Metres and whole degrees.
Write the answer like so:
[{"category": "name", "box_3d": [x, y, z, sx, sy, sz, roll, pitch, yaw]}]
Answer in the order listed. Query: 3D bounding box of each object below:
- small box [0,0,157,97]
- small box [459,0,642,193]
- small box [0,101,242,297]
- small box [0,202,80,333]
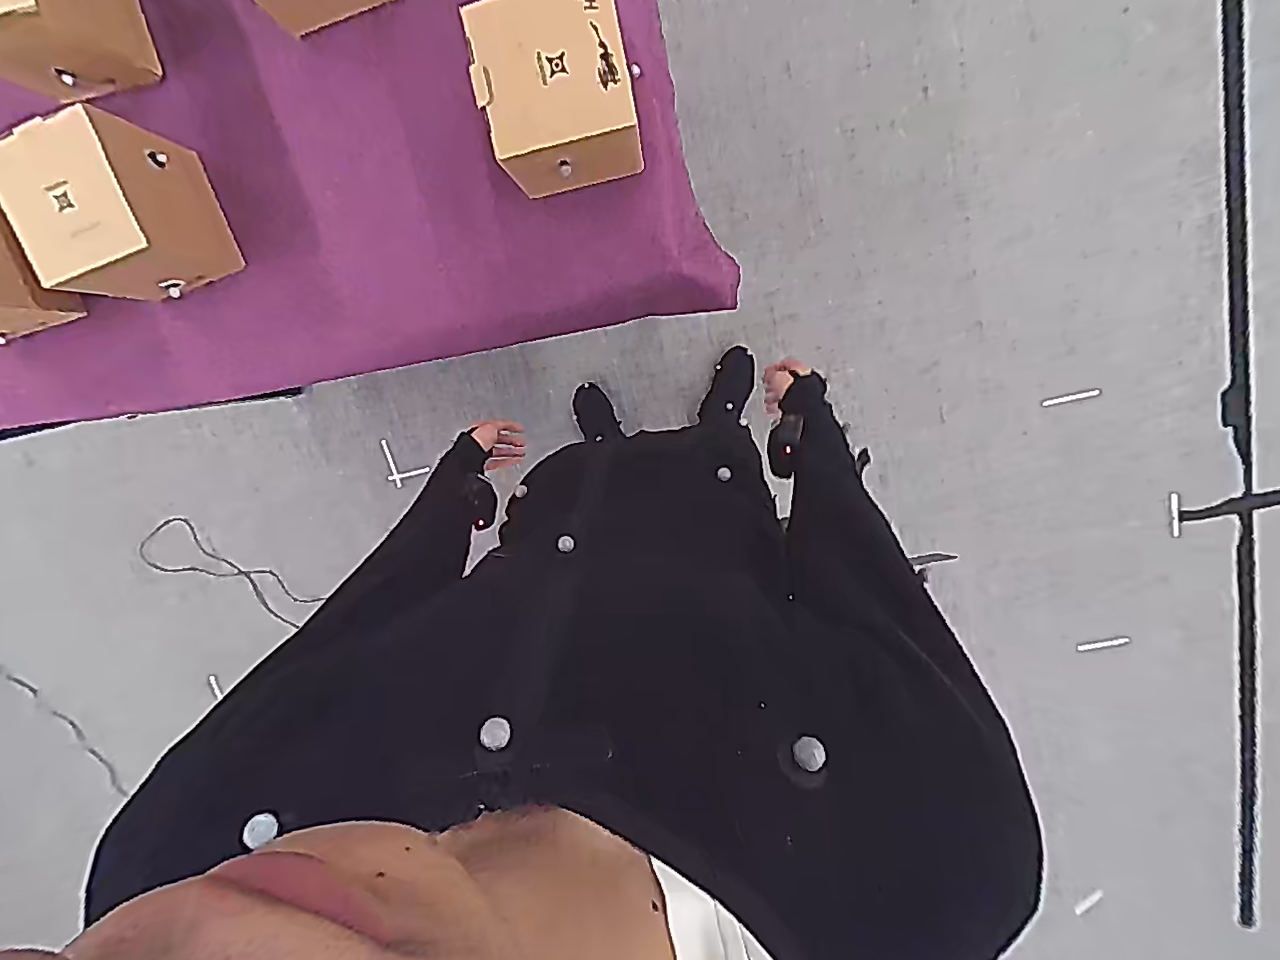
[{"category": "small box", "box_3d": [-0.792, -0.640, 0.695, 0.168, 0.176, 0.179, -10, 103, 4]}, {"category": "small box", "box_3d": [-0.102, -0.495, 0.698, 0.179, 0.176, 0.168, -11, 103, 6]}, {"category": "small box", "box_3d": [-0.720, -0.374, 0.756, 0.168, 0.176, 0.179, -17, 101, 7]}, {"category": "small box", "box_3d": [-0.987, -0.315, 0.779, 0.168, 0.176, 0.179, -14, 100, 5]}]
